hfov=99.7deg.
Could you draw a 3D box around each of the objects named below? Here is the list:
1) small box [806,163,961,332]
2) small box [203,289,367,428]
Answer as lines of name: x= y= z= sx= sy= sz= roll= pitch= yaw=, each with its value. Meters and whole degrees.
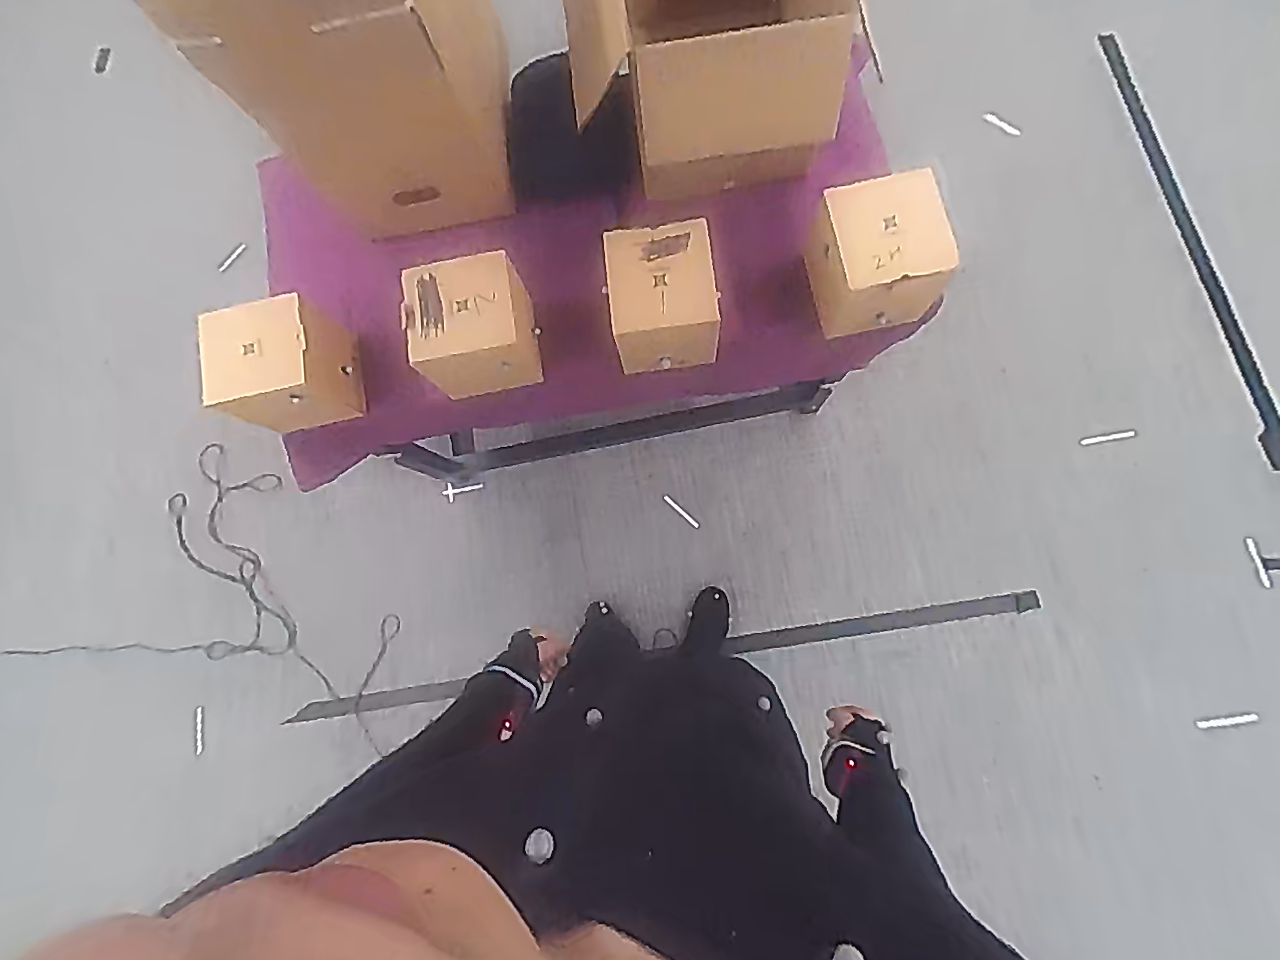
small box: x=0.383 y=-0.370 z=0.886 sx=0.168 sy=0.176 sz=0.179 roll=-10 pitch=79 yaw=5
small box: x=-0.615 y=-0.202 z=0.950 sx=0.179 sy=0.176 sz=0.168 roll=-12 pitch=79 yaw=1
